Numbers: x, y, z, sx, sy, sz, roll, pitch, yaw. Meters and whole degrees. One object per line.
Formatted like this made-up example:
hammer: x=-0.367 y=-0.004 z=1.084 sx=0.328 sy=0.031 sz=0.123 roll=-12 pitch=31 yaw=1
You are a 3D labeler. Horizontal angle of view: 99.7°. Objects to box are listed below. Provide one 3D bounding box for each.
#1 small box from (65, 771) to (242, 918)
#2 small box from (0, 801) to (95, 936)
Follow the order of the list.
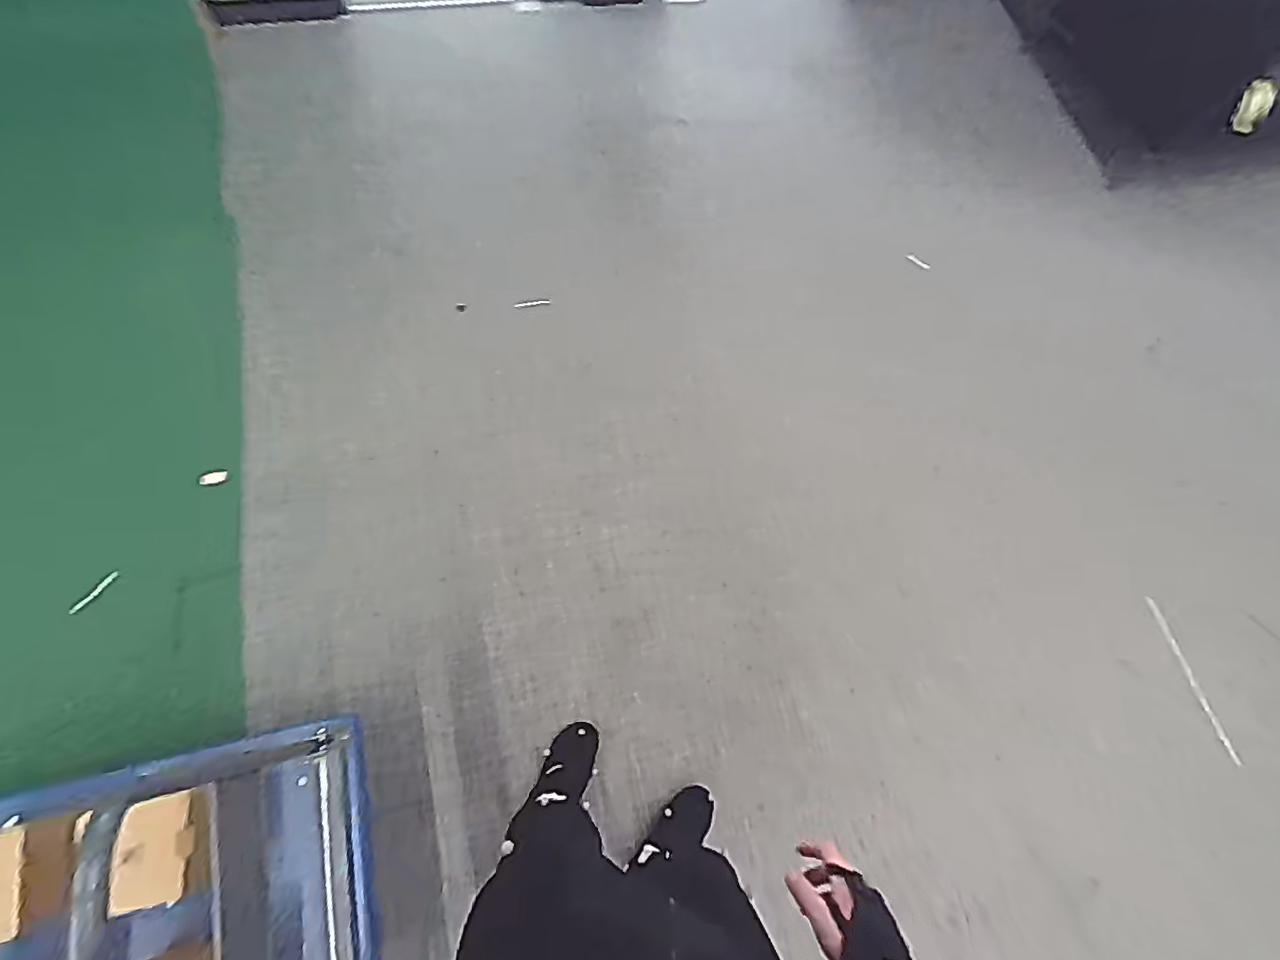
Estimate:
small box: x=-0.880 y=0.656 z=0.996 sx=0.179 sy=0.176 sz=0.168 roll=-9 pitch=72 yaw=-10
small box: x=-1.122 y=0.696 z=0.952 sx=0.179 sy=0.176 sz=0.168 roll=-12 pitch=73 yaw=-11
